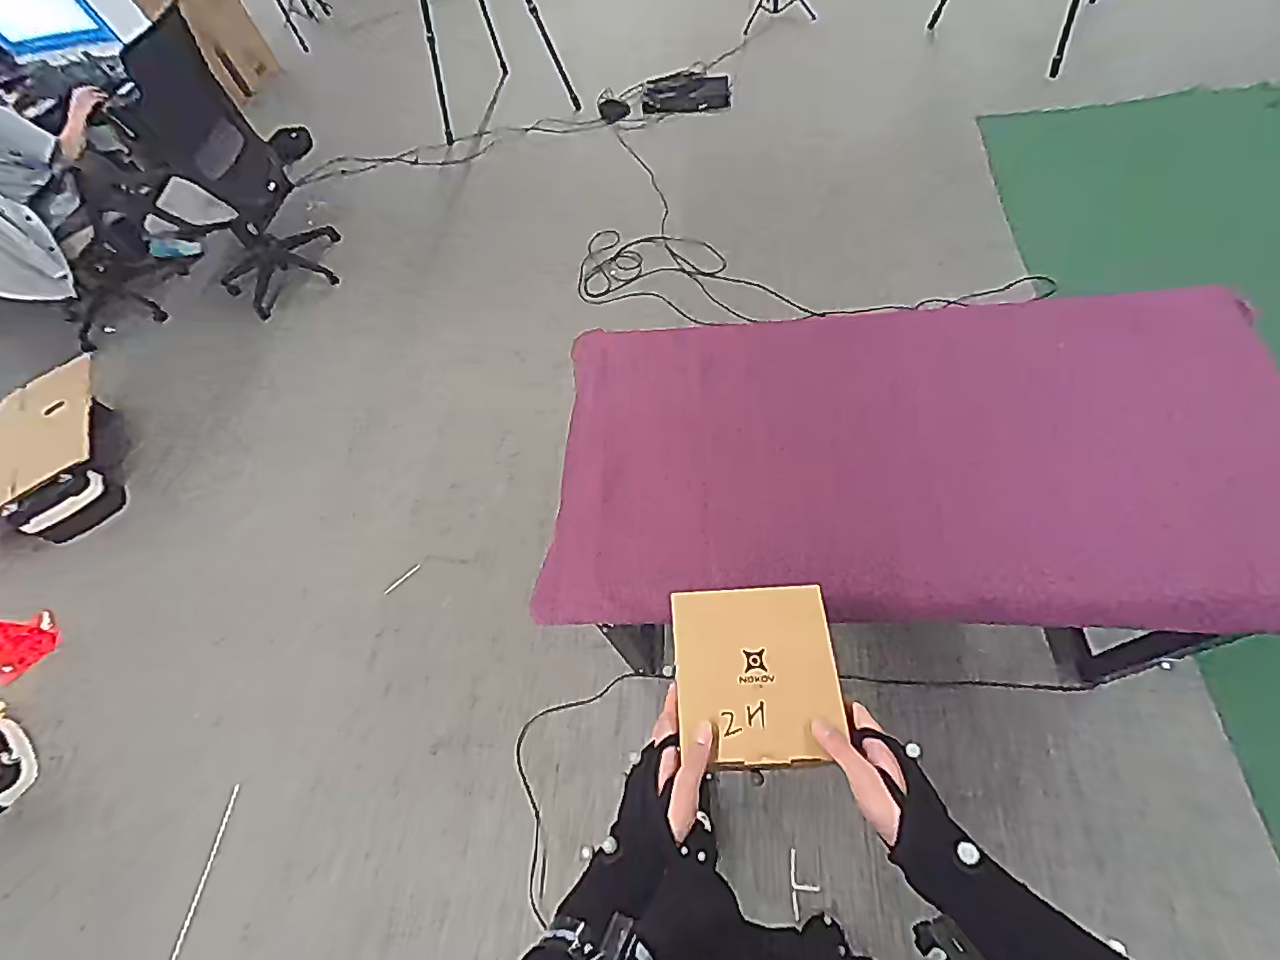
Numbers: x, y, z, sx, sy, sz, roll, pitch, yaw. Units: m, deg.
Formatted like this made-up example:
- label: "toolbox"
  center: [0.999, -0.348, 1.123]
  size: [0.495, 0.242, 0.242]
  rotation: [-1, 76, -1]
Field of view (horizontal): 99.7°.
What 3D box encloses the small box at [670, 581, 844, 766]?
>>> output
- label: "small box"
  center: [0.121, 0.230, 0.631]
  size: [0.168, 0.176, 0.179]
  rotation: [-4, 60, 5]
